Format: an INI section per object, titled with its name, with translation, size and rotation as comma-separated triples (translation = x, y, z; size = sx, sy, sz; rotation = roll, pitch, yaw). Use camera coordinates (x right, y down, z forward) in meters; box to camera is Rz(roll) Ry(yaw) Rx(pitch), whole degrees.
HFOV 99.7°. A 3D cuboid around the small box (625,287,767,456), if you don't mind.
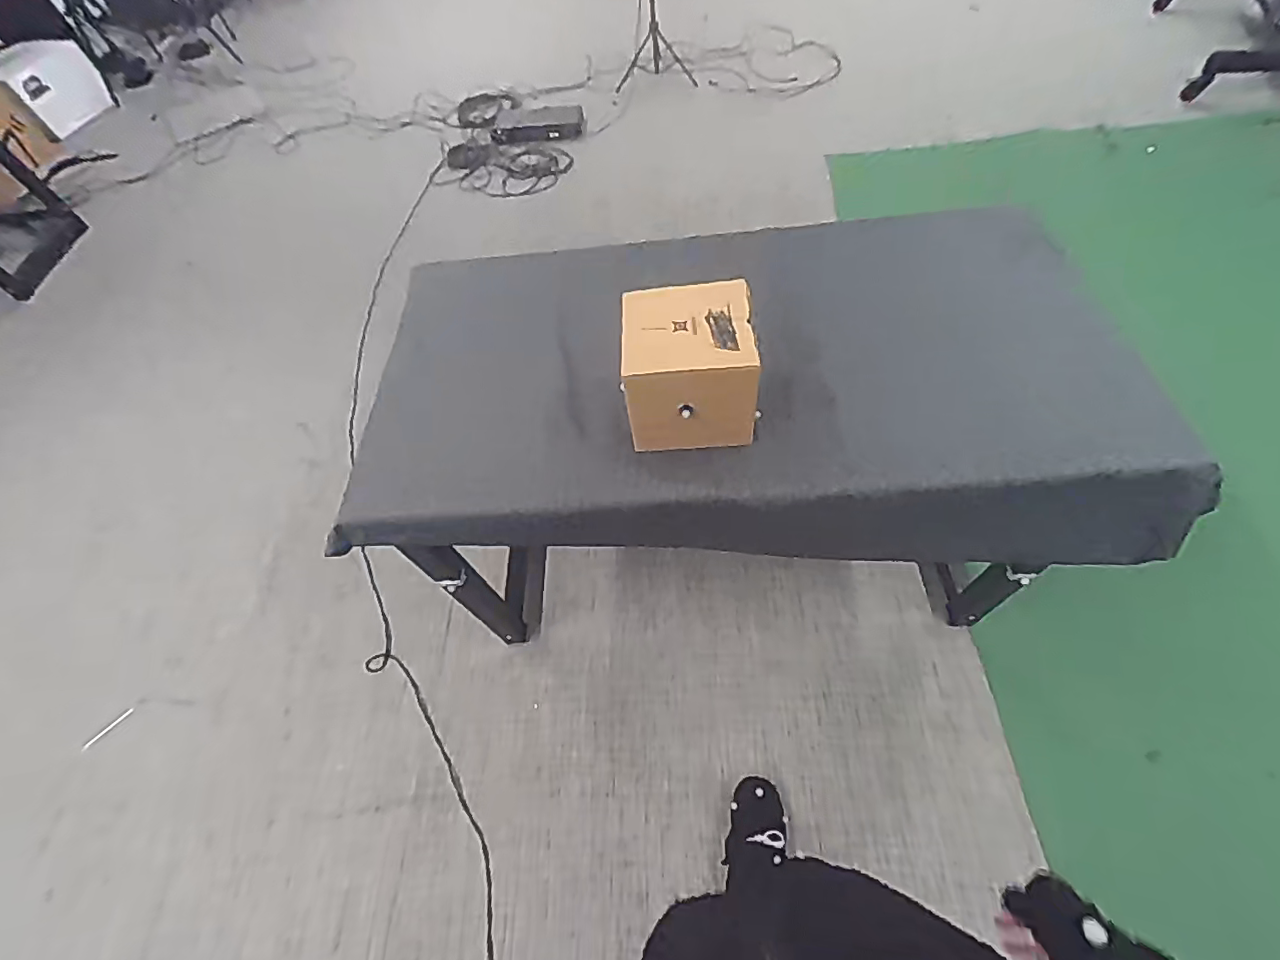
[small box]
translation = 0.075, -0.151, 0.785
size = 0.179, 0.176, 0.168
rotation = -5, 58, 3
